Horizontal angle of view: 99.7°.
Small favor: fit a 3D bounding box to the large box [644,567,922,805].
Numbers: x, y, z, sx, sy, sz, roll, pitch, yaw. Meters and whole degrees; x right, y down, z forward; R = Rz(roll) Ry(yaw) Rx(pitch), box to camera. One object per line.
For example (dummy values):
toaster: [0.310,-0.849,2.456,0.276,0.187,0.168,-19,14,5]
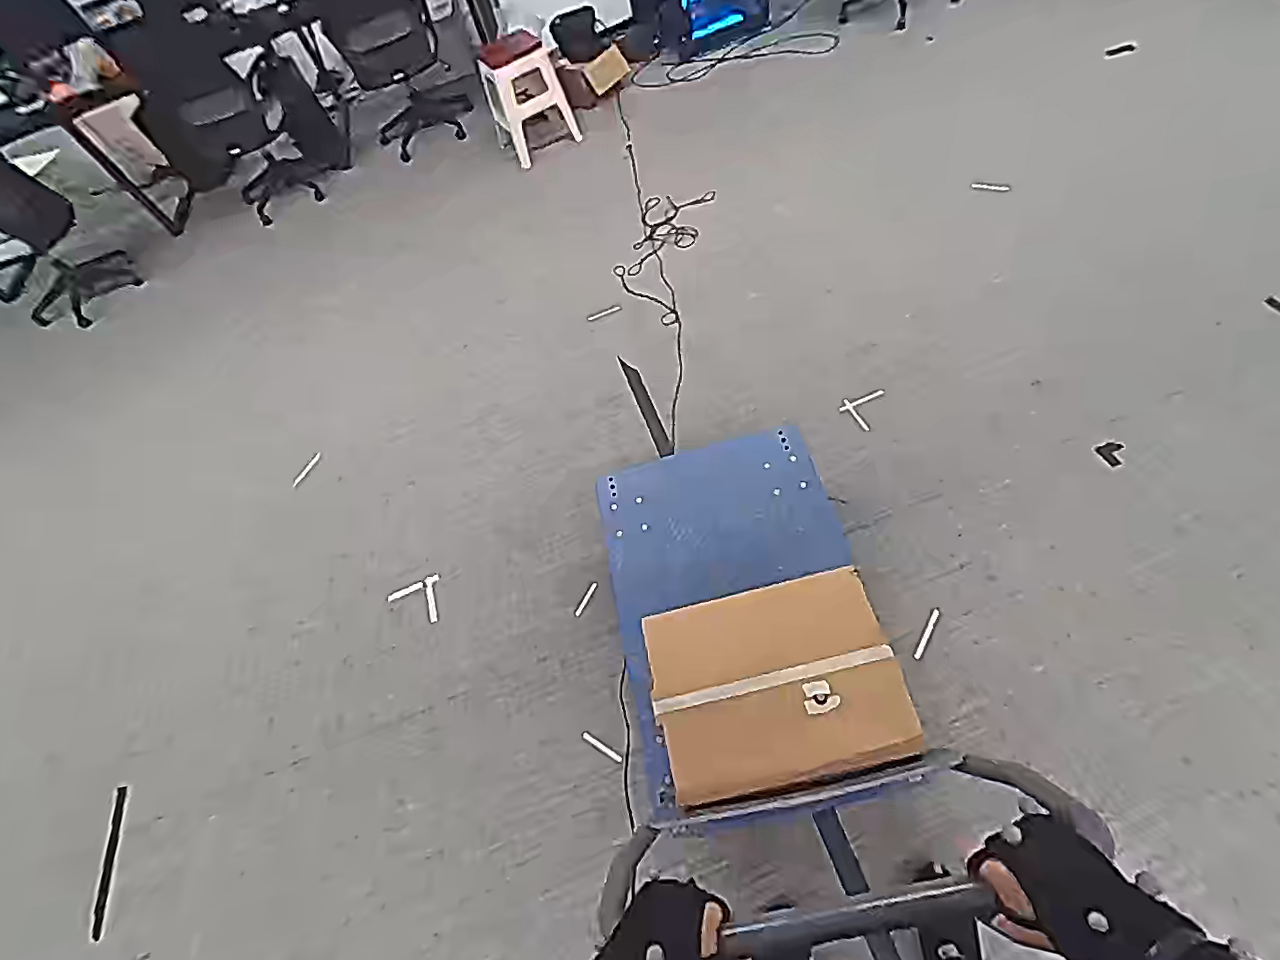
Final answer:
large box: [0.254,0.412,1.067,0.408,0.320,0.320,-16,62,3]
